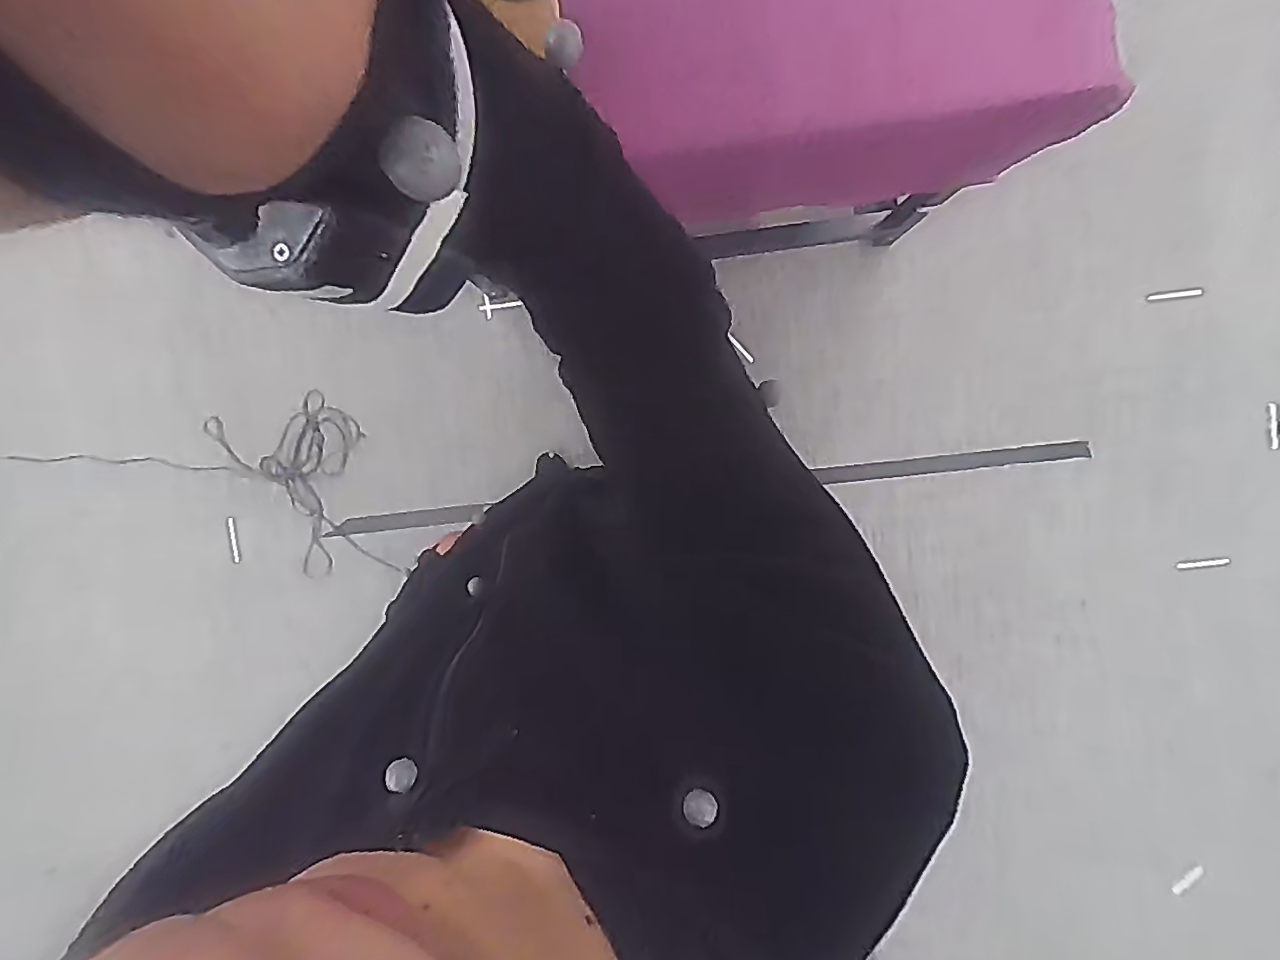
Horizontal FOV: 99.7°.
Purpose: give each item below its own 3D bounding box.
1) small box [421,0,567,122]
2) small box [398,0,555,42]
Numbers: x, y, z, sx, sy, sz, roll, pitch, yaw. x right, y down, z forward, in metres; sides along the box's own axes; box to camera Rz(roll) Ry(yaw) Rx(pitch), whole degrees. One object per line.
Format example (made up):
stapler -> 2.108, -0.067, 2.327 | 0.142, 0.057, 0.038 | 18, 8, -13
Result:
small box -> -0.202, -0.645, 0.755 | 0.168, 0.176, 0.179 | -6, 95, 2
small box -> -0.202, -0.627, 0.594 | 0.179, 0.176, 0.168 | -6, 95, 2
